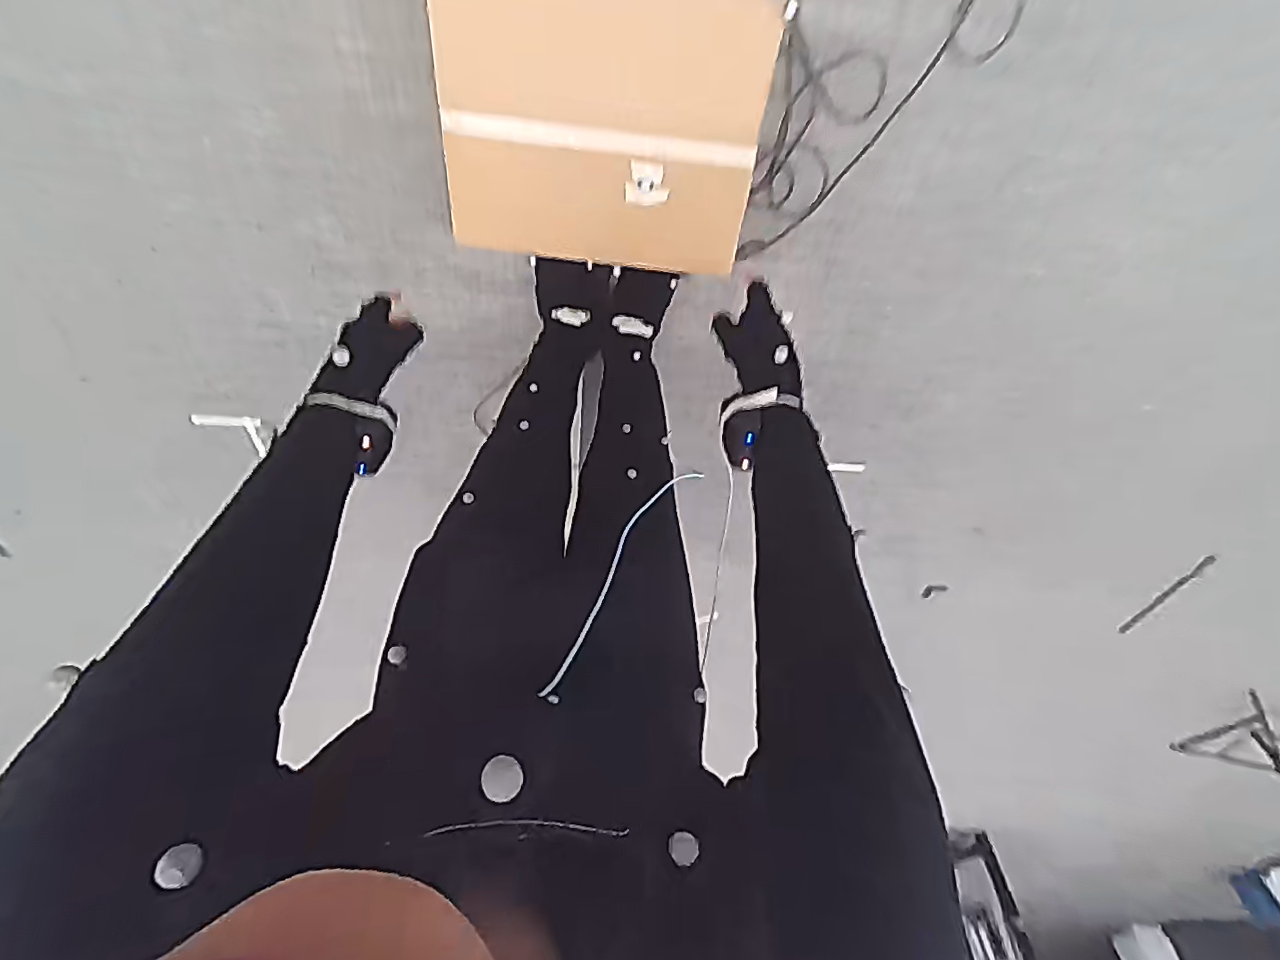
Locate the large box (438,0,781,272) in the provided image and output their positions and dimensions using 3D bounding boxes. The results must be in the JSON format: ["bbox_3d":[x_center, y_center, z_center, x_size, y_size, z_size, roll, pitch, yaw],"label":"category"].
[{"bbox_3d":[-0.045,-0.539,0.821,0.408,0.320,0.320,6,130,-3],"label":"large box"}]
